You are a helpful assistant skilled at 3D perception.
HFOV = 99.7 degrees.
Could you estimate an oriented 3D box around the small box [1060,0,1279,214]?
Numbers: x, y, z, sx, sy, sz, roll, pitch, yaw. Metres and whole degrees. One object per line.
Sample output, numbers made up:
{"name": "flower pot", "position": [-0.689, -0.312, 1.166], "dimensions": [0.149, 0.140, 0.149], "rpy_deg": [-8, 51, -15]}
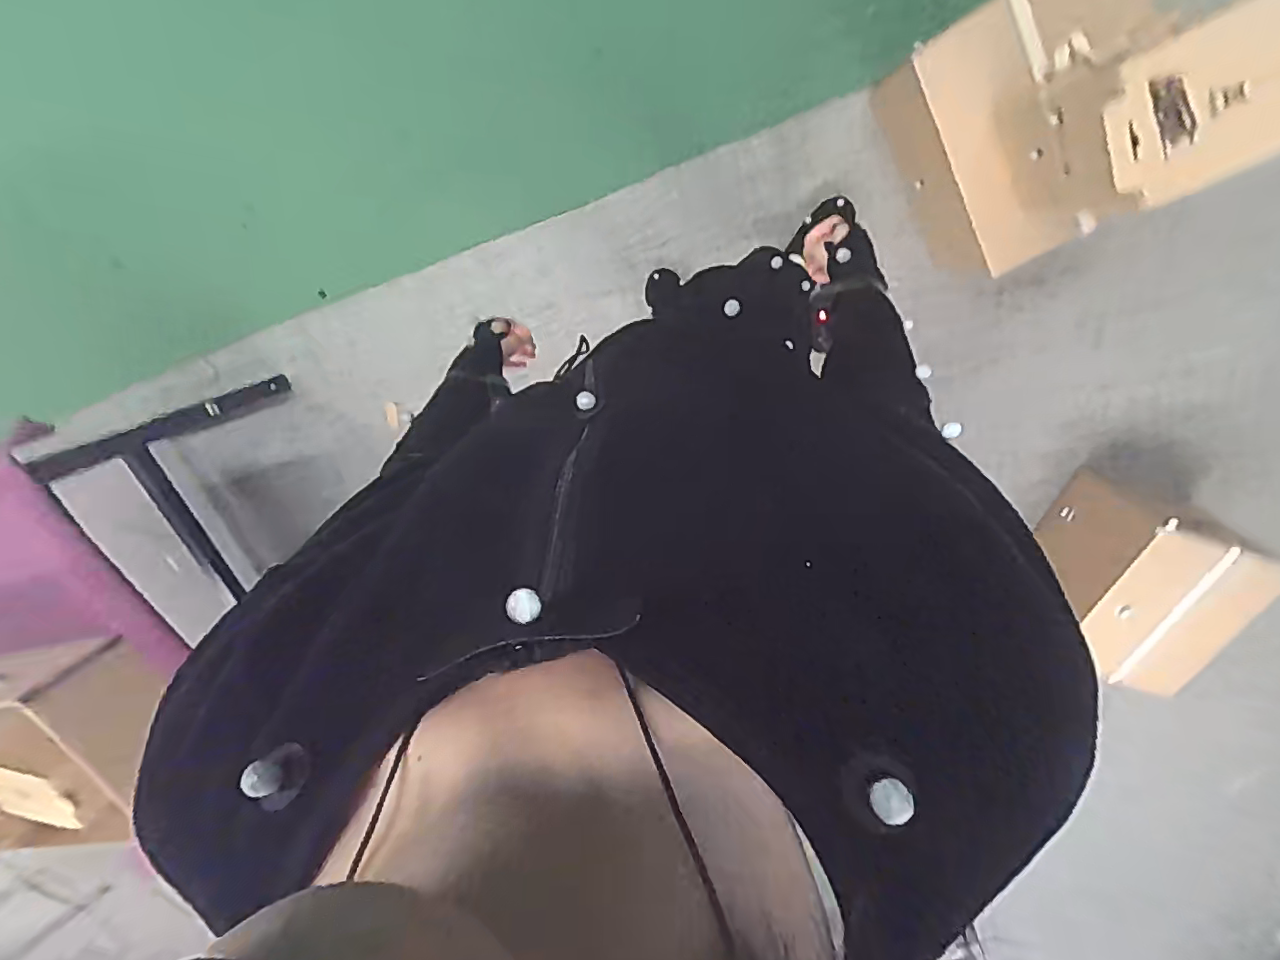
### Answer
{"name": "small box", "position": [0.658, -0.445, 0.664], "dimensions": [0.179, 0.176, 0.168], "rpy_deg": [-21, 110, 19]}

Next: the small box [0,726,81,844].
{"name": "small box", "position": [-1.398, 0.664, 1.181], "dimensions": [0.179, 0.176, 0.168], "rpy_deg": [-12, 112, 12]}

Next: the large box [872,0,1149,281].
{"name": "large box", "position": [0.697, -0.645, 1.021], "dimensions": [0.320, 0.320, 0.408], "rpy_deg": [-27, 106, 19]}
